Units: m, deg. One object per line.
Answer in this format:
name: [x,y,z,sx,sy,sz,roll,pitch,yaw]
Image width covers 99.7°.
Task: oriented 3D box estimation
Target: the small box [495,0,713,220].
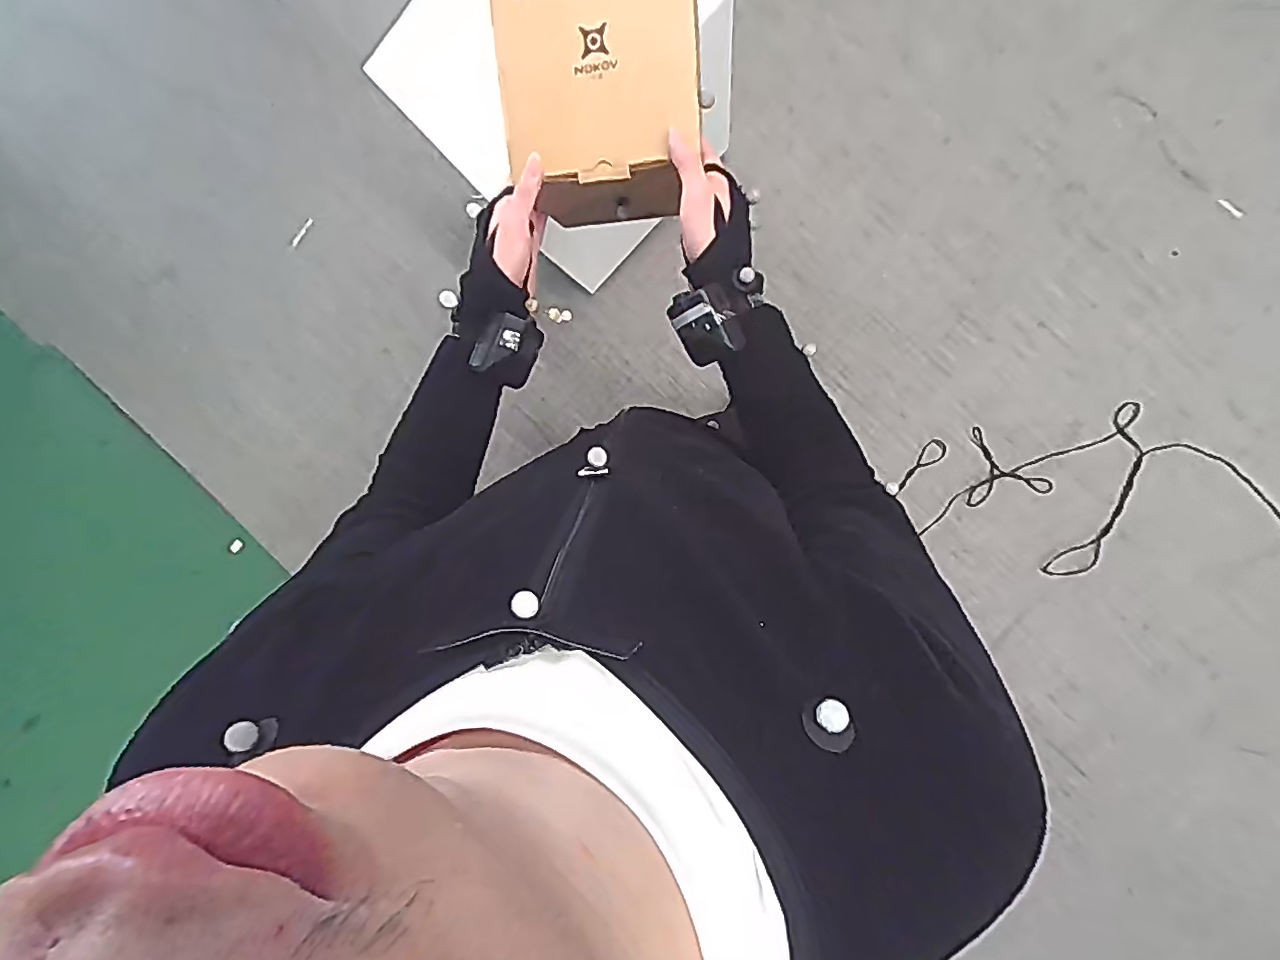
small box: [-0.020,-0.364,0.518,0.168,0.176,0.179,-5,102,10]
